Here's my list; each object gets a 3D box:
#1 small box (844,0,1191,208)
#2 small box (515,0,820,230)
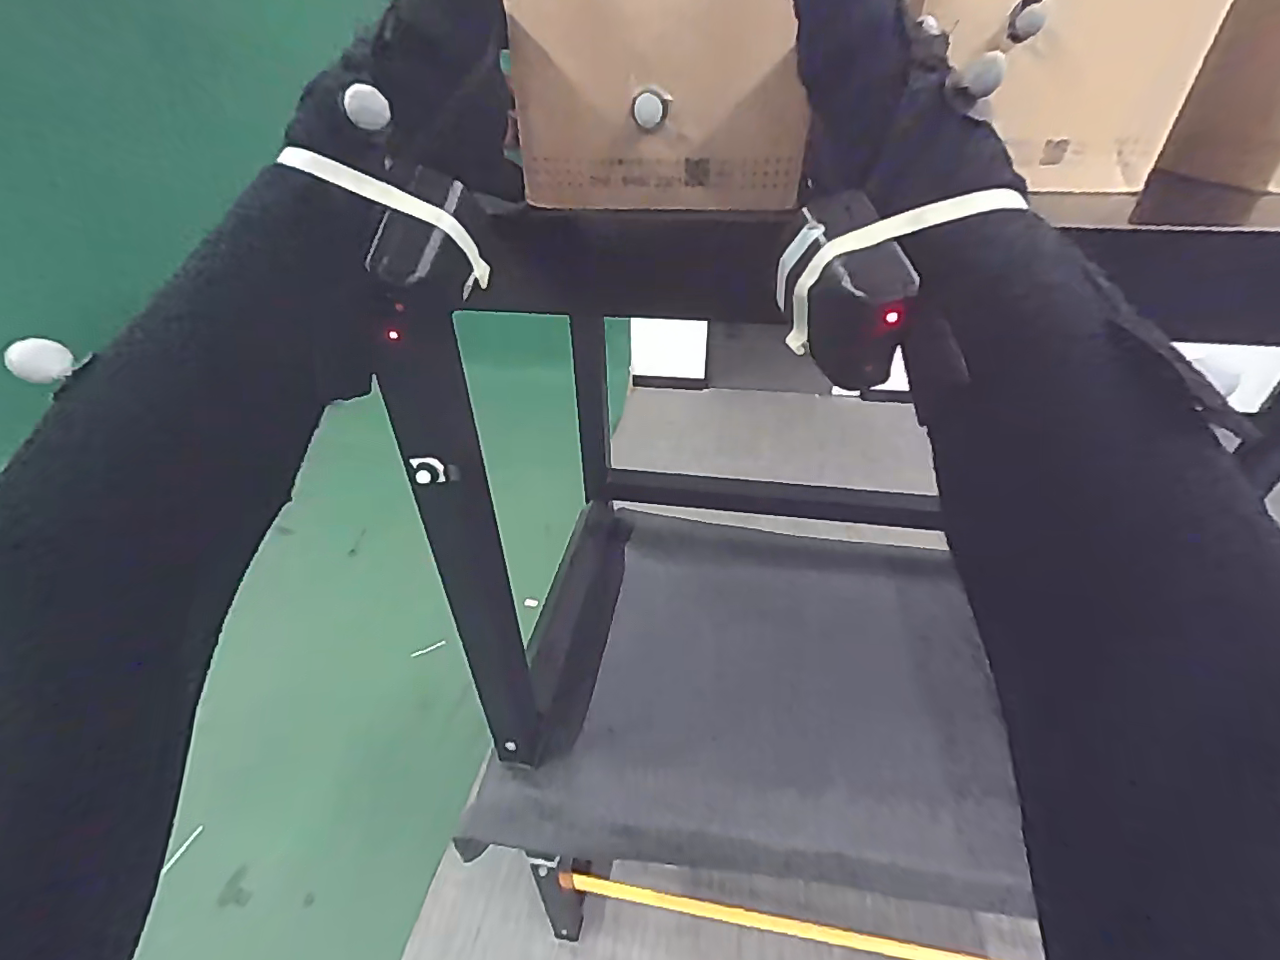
[{"bbox_3d":[0.260,-0.307,0.404,0.168,0.176,0.179,5,35,9],"label":"small box"},{"bbox_3d":[0.018,-0.277,0.361,0.168,0.176,0.179,2,36,4],"label":"small box"}]
